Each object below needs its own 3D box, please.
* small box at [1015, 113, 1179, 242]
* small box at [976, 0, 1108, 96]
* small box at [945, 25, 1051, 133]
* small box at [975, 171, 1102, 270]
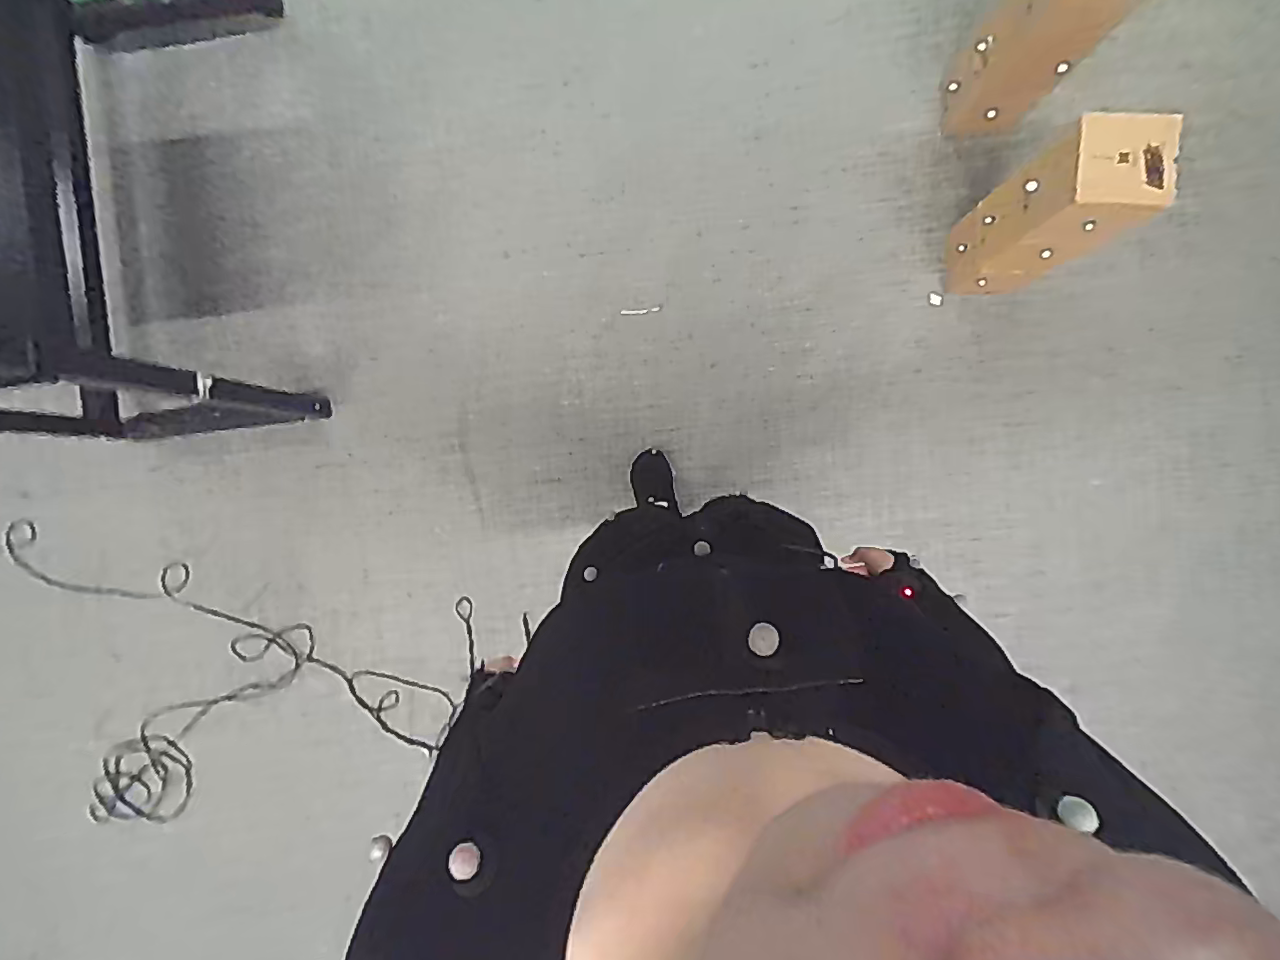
[{"bbox_3d":[0.887,-0.584,1.064,0.179,0.176,0.168,4,92,4],"label":"small box"},{"bbox_3d":[0.895,-1.007,1.215,0.179,0.176,0.168,-5,90,3],"label":"small box"},{"bbox_3d":[0.901,-1.015,1.378,0.179,0.176,0.168,-1,92,3],"label":"small box"},{"bbox_3d":[0.902,-0.589,1.228,0.179,0.176,0.168,2,92,3],"label":"small box"}]
